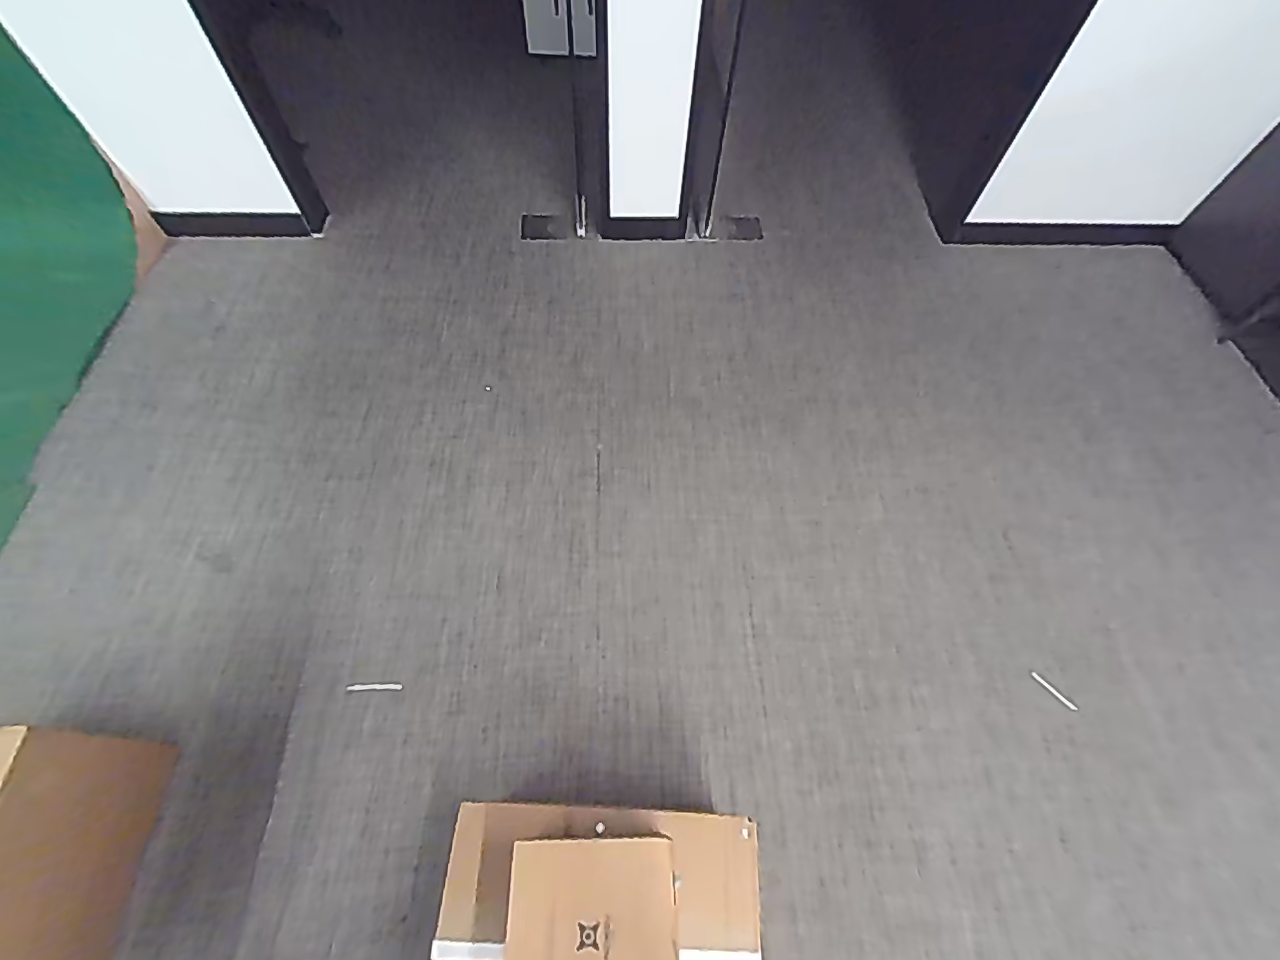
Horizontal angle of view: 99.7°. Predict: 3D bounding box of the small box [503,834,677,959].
[{"bbox_3d":[-0.053,0.503,0.613,0.179,0.176,0.168,1,57,-2],"label":"small box"}]
